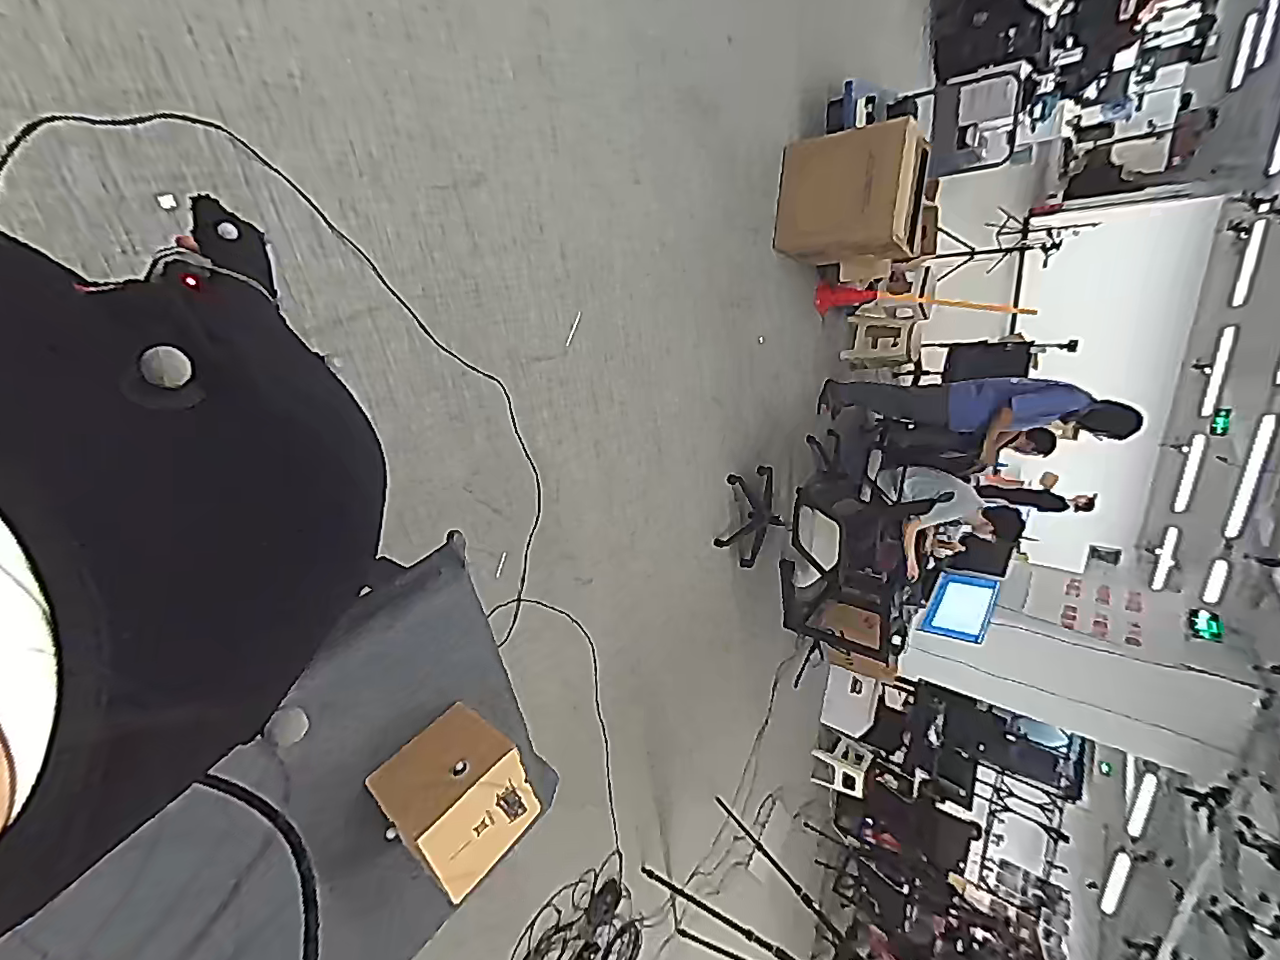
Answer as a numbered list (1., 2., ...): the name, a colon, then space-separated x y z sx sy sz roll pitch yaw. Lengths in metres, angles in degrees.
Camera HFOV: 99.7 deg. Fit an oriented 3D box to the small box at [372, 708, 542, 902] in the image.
1. small box: -0.293 0.511 0.878 0.179 0.176 0.168 -35 124 -39
